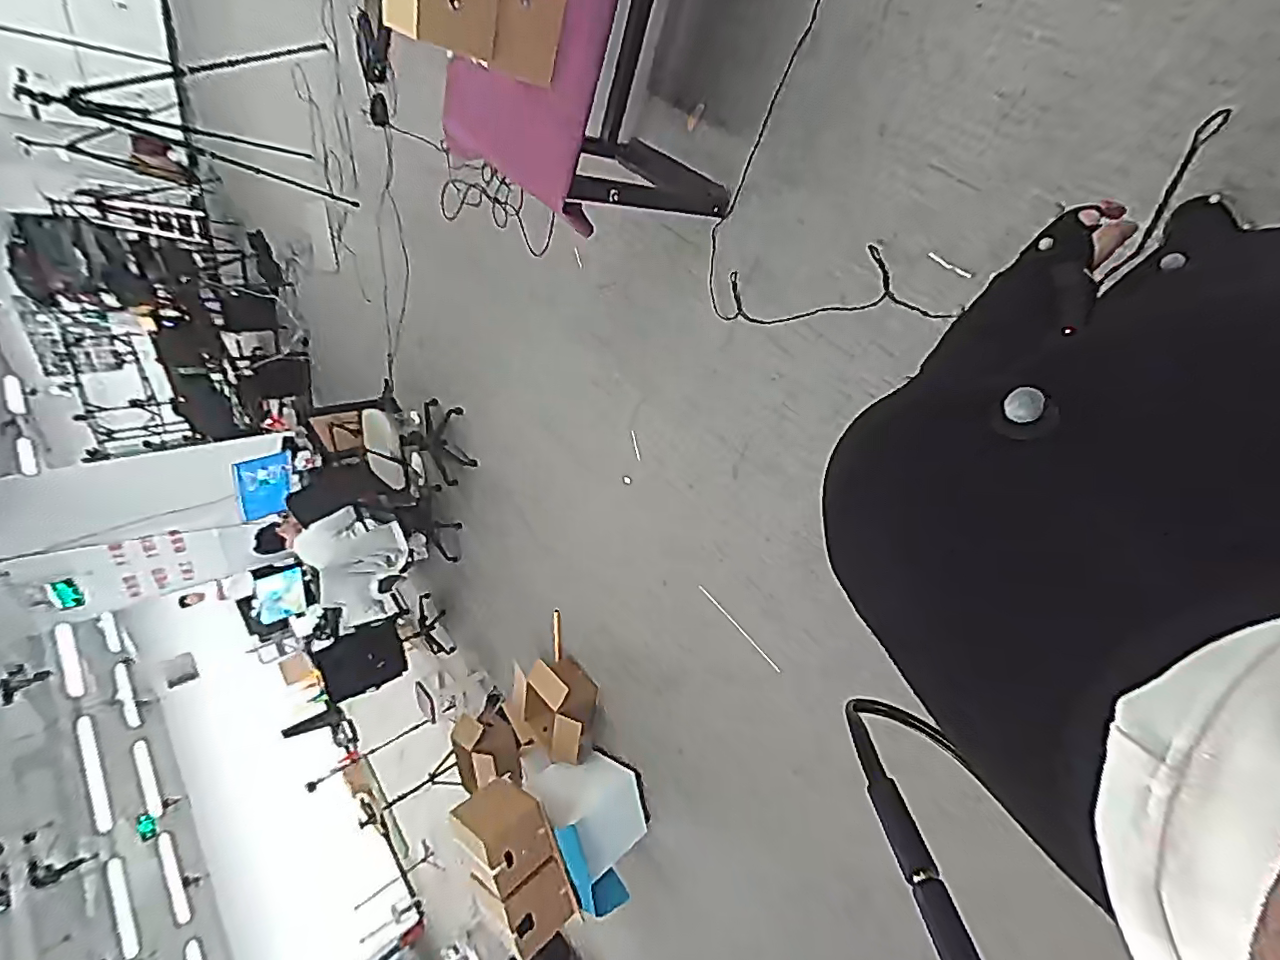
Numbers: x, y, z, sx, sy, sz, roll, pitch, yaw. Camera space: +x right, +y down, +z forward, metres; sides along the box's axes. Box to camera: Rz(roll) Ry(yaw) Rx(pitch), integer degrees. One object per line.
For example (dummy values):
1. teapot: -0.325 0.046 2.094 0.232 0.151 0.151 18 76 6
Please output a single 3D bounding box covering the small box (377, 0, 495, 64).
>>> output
1. small box: -0.406 -0.981 1.087 0.168 0.176 0.179 43 131 27
